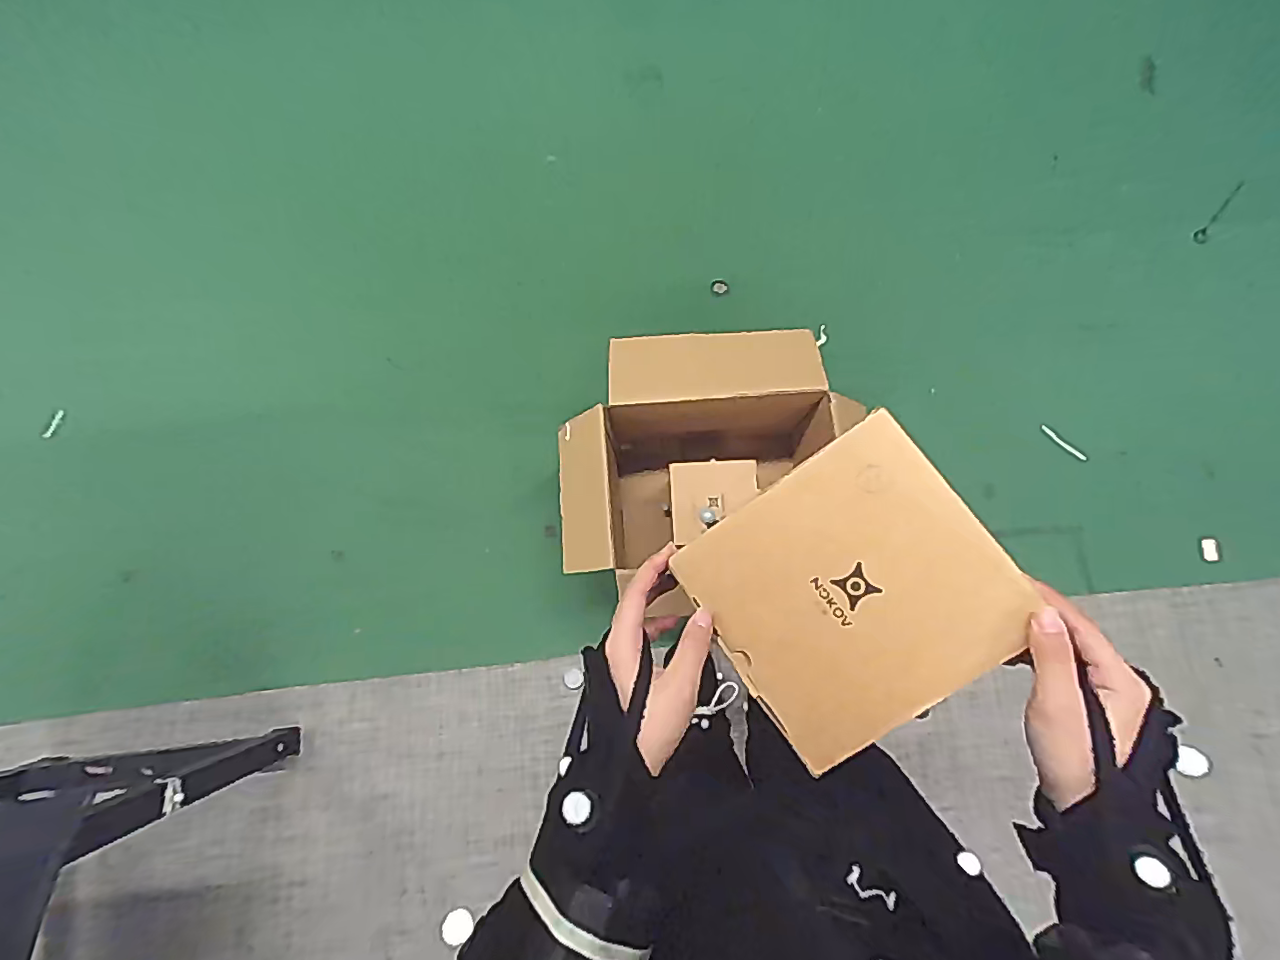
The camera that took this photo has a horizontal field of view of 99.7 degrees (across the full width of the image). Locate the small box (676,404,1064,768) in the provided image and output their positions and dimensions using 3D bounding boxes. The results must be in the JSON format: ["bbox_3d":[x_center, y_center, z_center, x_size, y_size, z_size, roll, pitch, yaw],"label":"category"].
[{"bbox_3d":[0.150,0.070,0.415,0.179,0.176,0.168,-37,79,7],"label":"small box"}]
